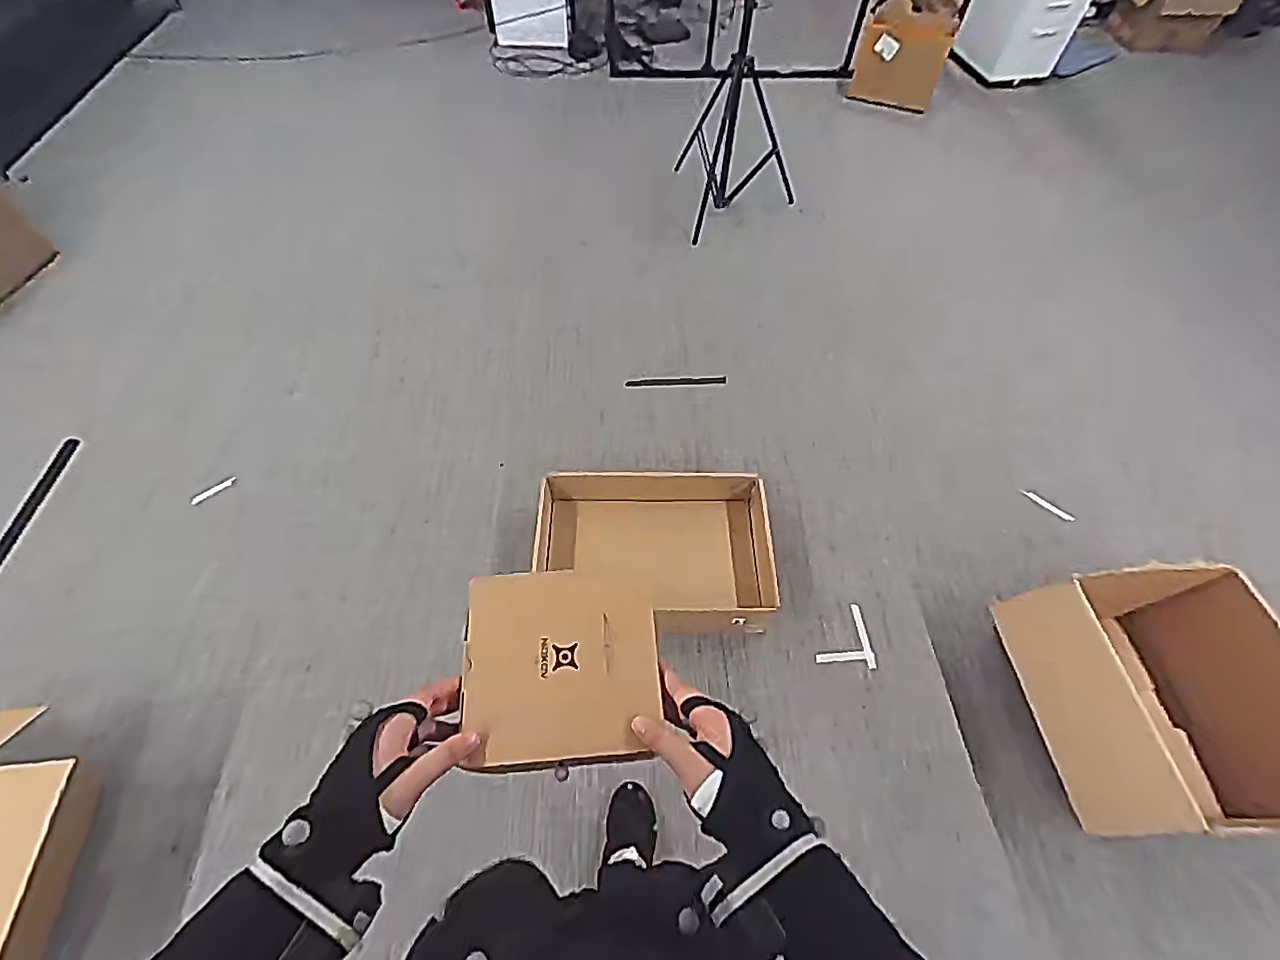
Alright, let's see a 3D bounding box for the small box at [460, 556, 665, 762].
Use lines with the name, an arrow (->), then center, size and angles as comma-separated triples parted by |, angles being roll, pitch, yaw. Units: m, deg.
small box -> -0.074, 0.191, 0.561 | 0.179, 0.176, 0.168 | -4, 62, -5
